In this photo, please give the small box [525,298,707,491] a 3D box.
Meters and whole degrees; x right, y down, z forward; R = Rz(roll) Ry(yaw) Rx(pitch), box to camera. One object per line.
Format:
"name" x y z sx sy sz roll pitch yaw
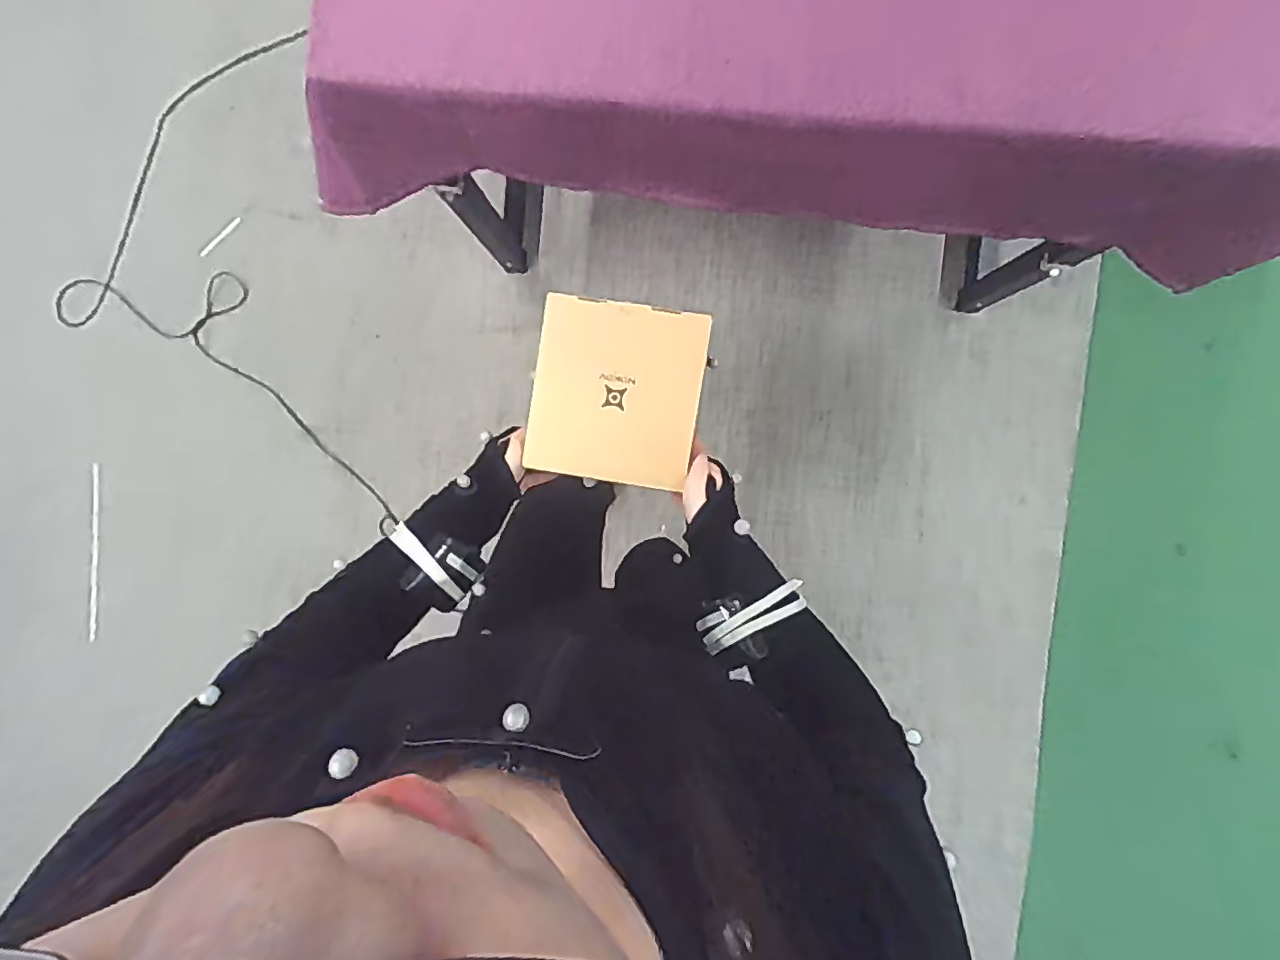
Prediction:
"small box" -0.020 -0.091 0.631 0.168 0.176 0.179 10 93 3
